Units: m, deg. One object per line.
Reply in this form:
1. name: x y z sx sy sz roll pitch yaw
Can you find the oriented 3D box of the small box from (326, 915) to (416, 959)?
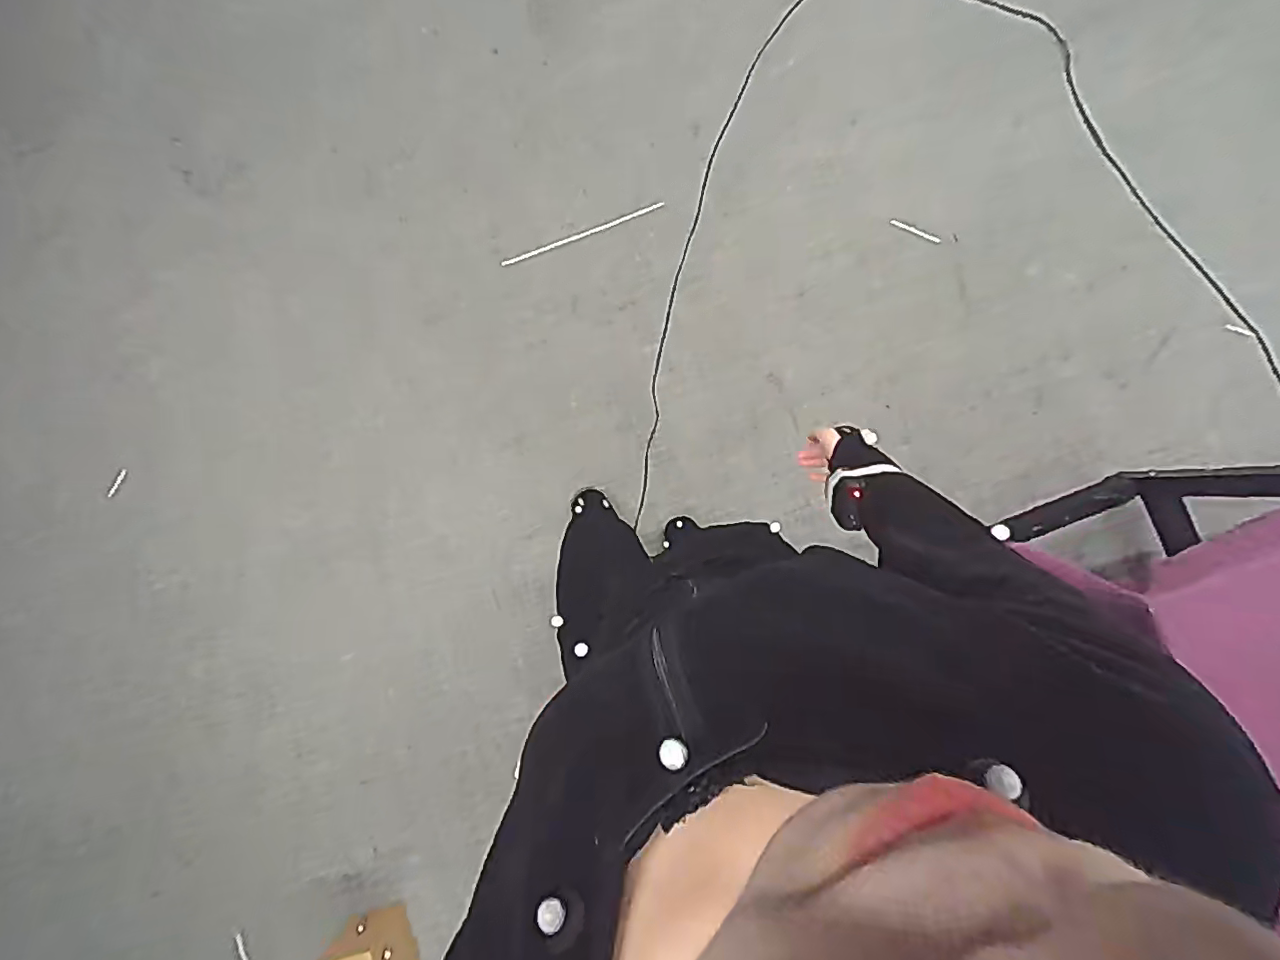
1. small box: -0.724 1.305 1.435 0.168 0.176 0.179 -18 87 4
